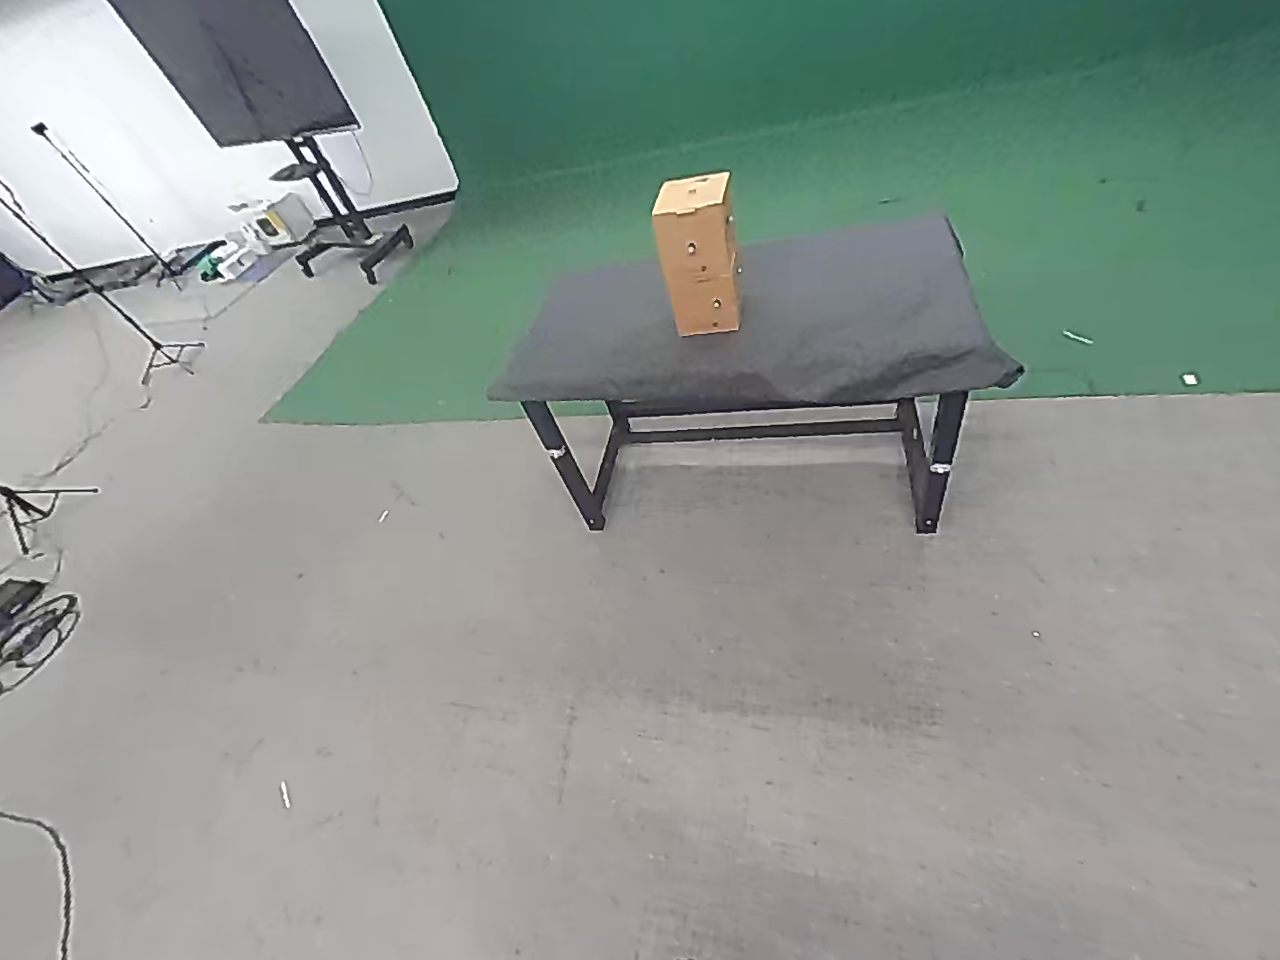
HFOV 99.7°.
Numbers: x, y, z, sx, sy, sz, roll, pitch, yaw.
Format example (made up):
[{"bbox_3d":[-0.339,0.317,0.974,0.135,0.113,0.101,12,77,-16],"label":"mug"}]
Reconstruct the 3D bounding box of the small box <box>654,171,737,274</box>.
[{"bbox_3d":[0.145,-0.624,1.328,0.168,0.176,0.179,1,52,17],"label":"small box"}]

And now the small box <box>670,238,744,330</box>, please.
[{"bbox_3d":[0.186,-0.515,1.444,0.168,0.176,0.179,-1,49,17],"label":"small box"}]
